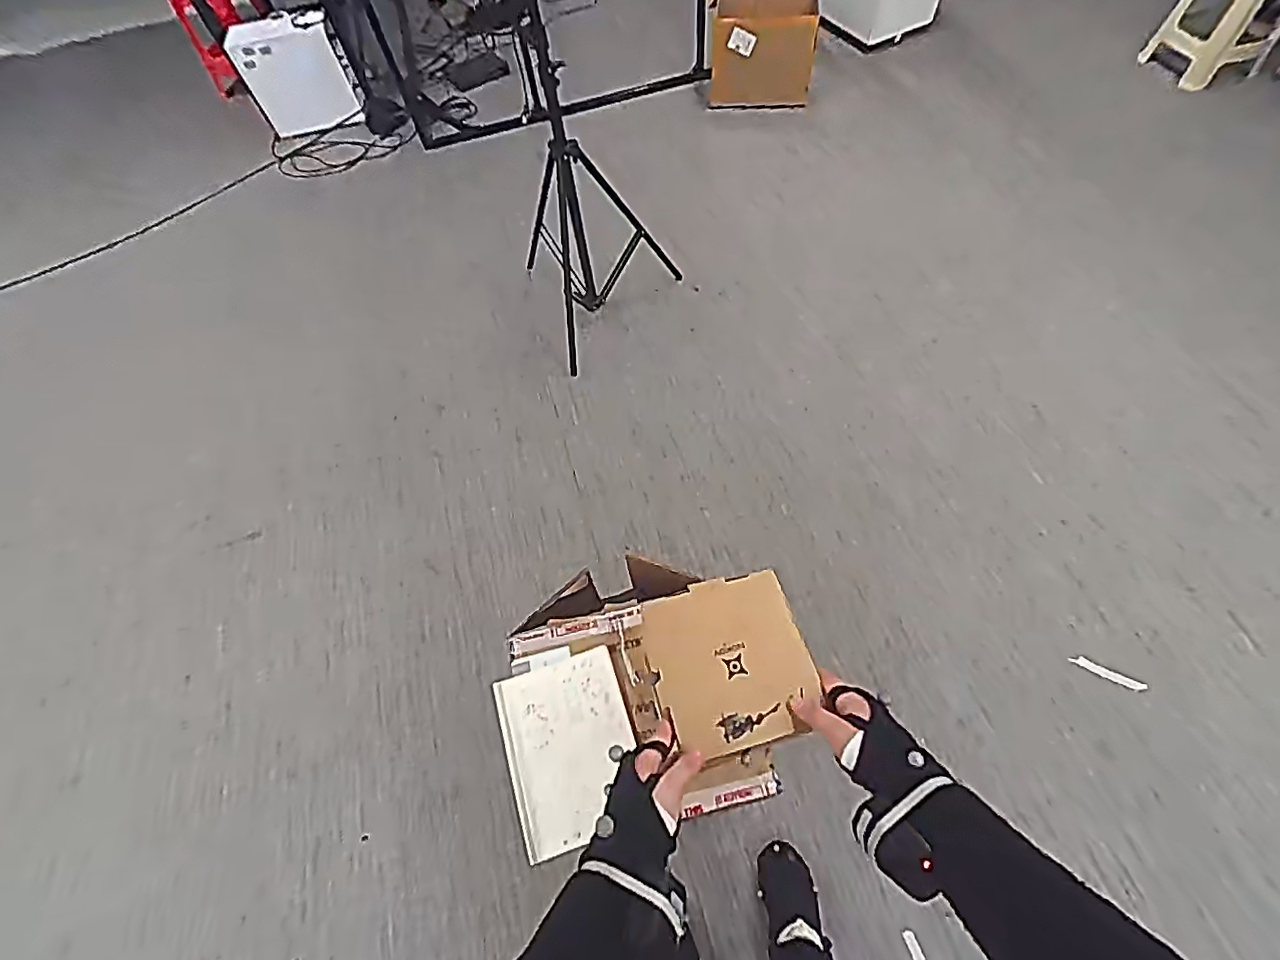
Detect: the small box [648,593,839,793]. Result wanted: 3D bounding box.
[{"bbox_3d":[0.107,0.262,0.656,0.168,0.176,0.179,-13,60,-7],"label":"small box"}]
